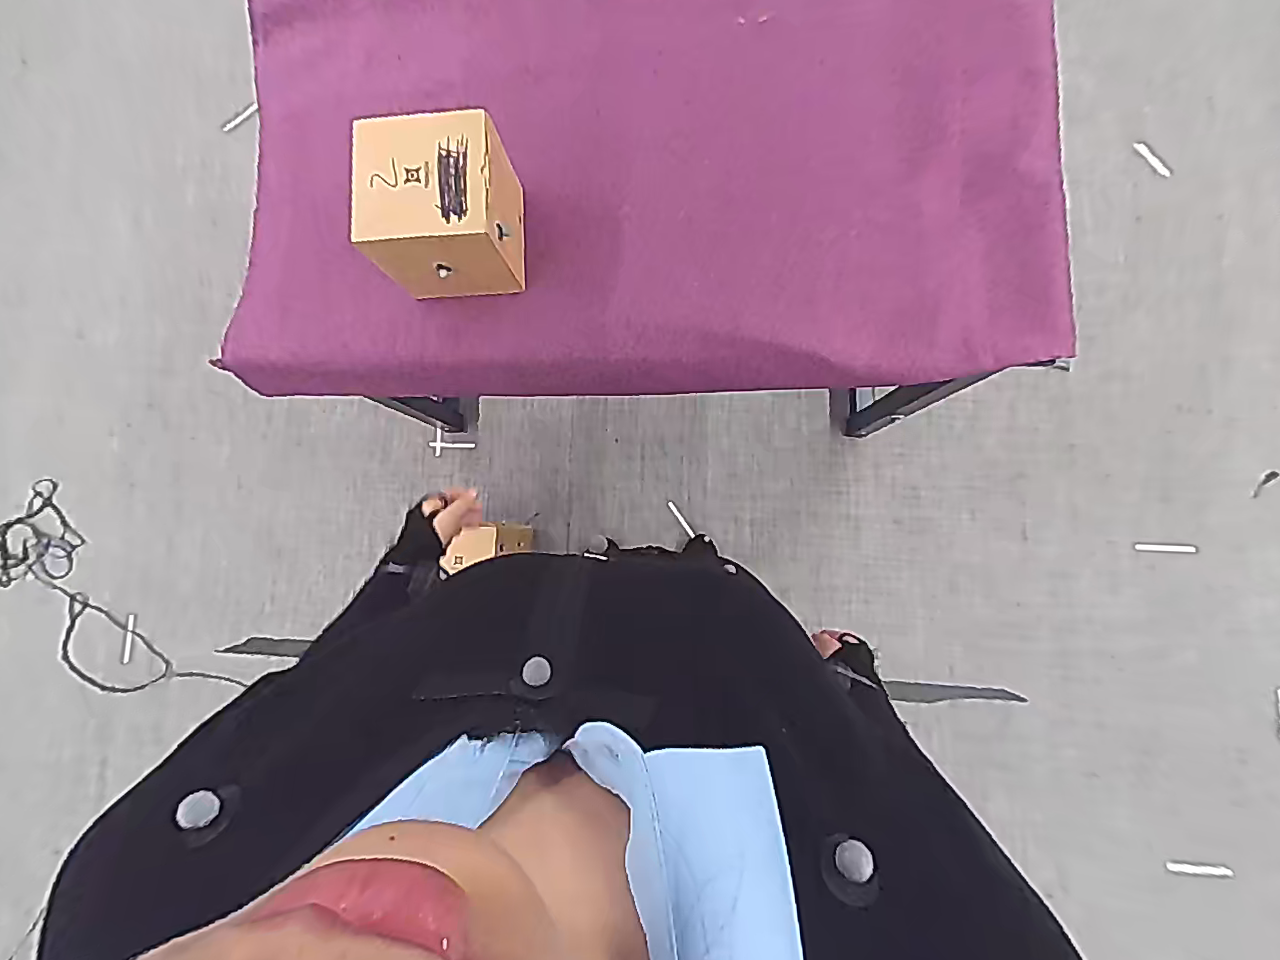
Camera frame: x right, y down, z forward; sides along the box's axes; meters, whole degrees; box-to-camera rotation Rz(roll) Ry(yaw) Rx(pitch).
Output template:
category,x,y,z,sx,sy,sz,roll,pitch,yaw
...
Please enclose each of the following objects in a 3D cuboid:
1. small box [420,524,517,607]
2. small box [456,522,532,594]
category,x,y,z,sx,sy,sz,roll,pitch,yaw
small box,-0.396,0.198,1.278,0.168,0.176,0.179,3,85,3
small box,-0.396,0.209,1.442,0.168,0.176,0.179,8,85,3
